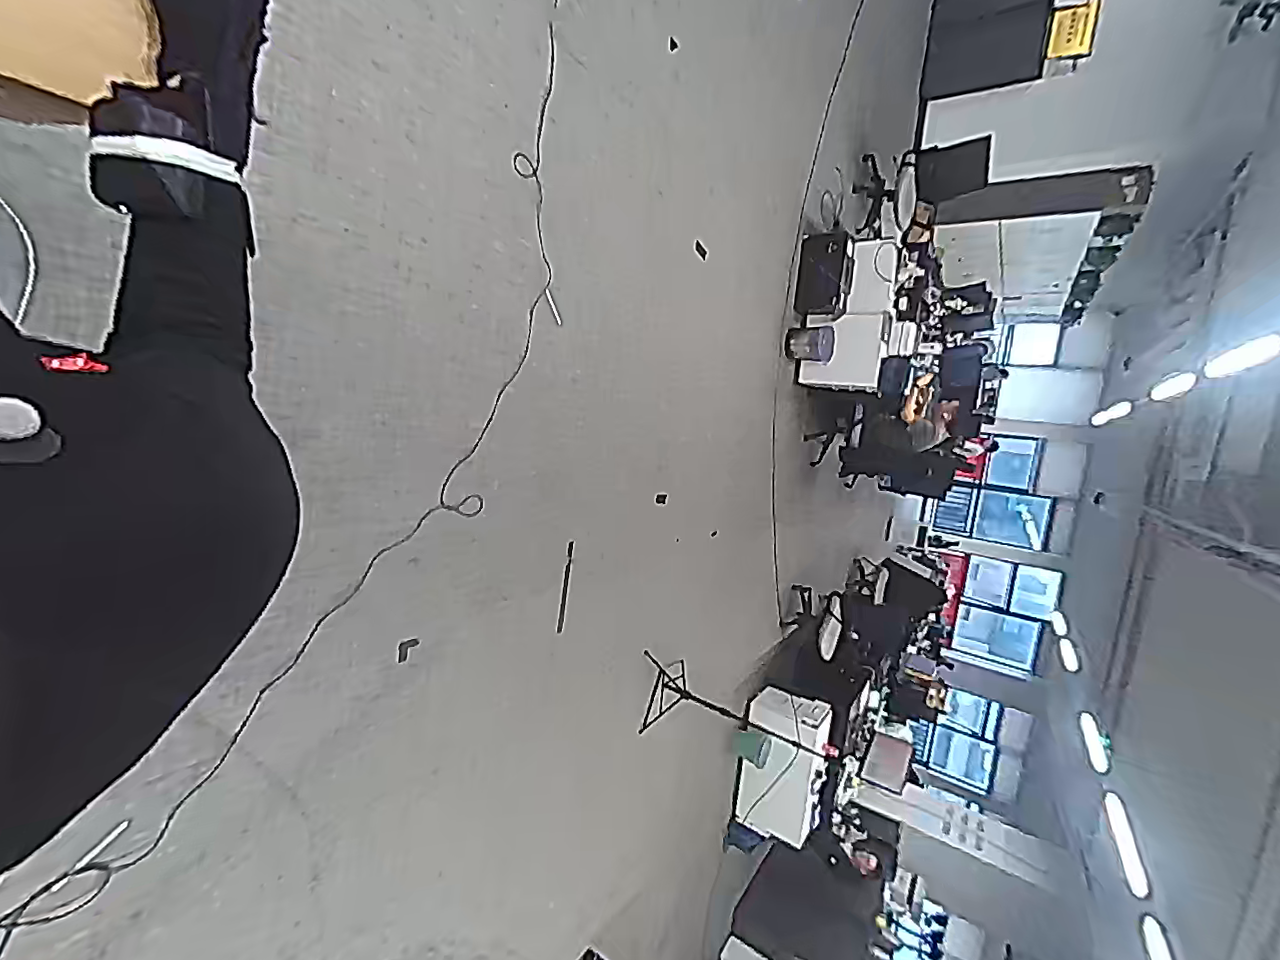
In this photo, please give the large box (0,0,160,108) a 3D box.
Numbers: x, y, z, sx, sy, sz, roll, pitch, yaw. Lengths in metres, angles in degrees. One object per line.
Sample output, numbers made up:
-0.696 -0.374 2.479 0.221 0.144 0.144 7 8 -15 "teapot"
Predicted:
-0.539 -0.432 0.248 0.408 0.320 0.320 -12 121 -59 "large box"
